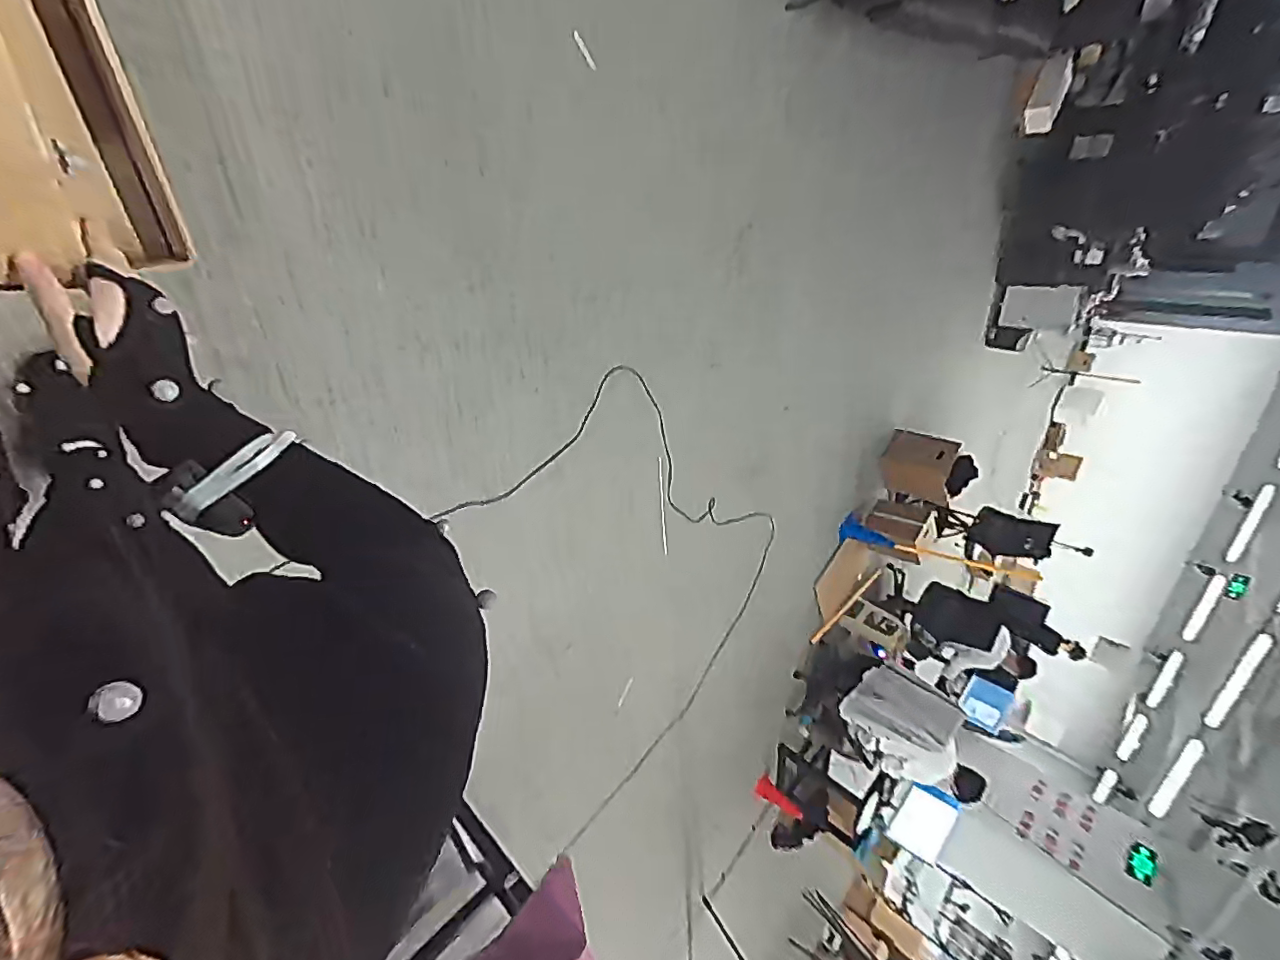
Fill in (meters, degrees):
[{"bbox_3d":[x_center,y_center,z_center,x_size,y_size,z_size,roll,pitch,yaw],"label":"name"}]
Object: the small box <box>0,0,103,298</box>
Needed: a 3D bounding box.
[{"bbox_3d":[-0.484,-0.228,0.346,0.168,0.176,0.179,-16,132,-34],"label":"small box"}]
